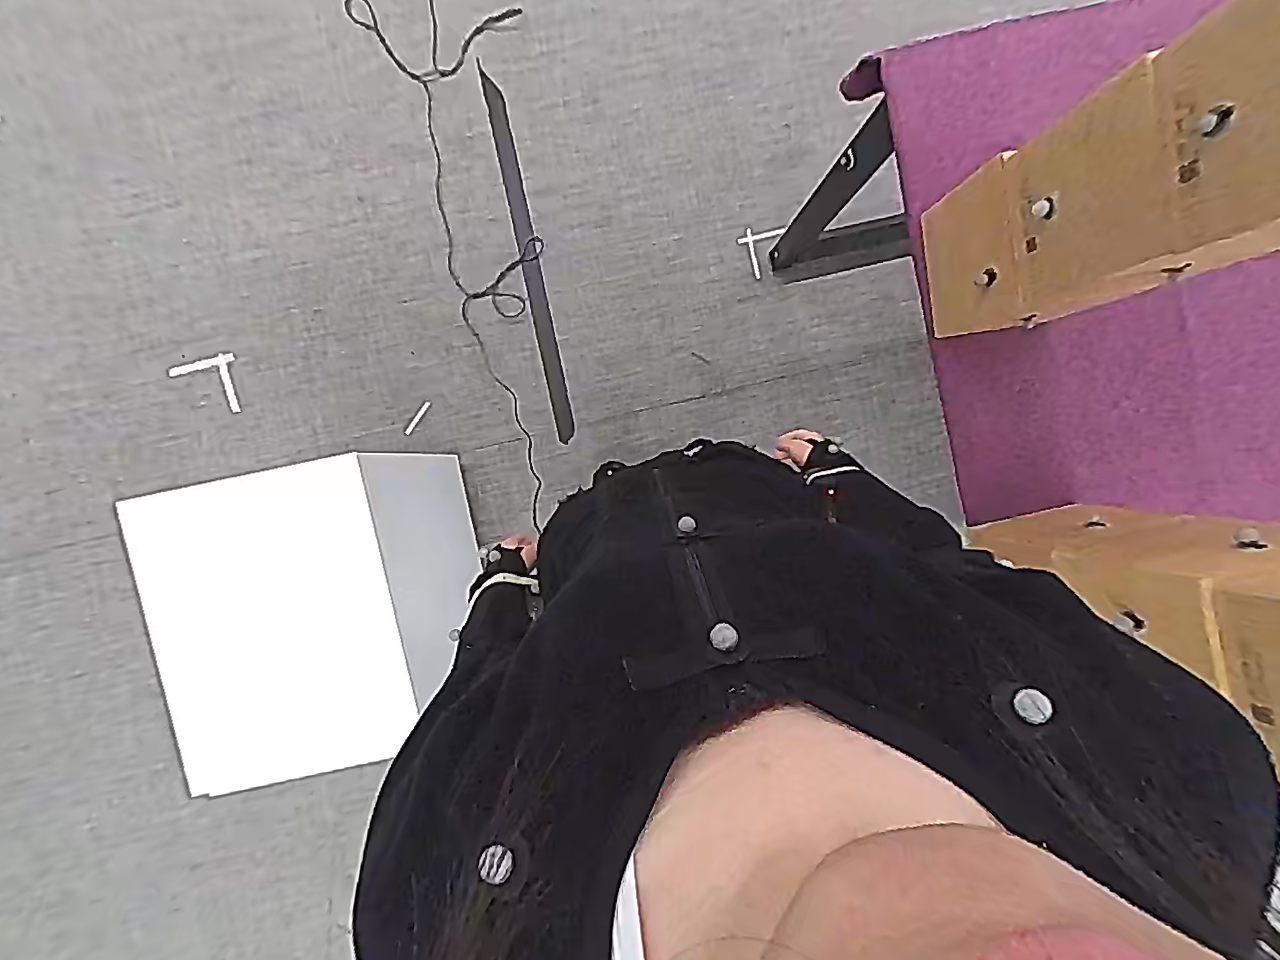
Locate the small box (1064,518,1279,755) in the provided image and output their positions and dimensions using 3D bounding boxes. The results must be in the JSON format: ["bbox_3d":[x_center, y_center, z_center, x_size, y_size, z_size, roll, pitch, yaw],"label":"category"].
[{"bbox_3d":[0.575,0.140,0.546,0.179,0.176,0.168,-13,92,-2],"label":"small box"}]

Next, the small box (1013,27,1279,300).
[{"bbox_3d":[0.508,-0.287,0.521,0.179,0.176,0.168,-10,93,0],"label":"small box"}]

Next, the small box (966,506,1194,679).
[{"bbox_3d":[0.573,0.133,0.709,0.179,0.176,0.168,-12,92,0],"label":"small box"}]

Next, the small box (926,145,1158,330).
[{"bbox_3d":[0.493,-0.296,0.684,0.168,0.176,0.179,-9,93,-2],"label":"small box"}]

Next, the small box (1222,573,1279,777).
[{"bbox_3d":[0.592,0.152,0.383,0.179,0.176,0.168,-13,91,-3],"label":"small box"}]
